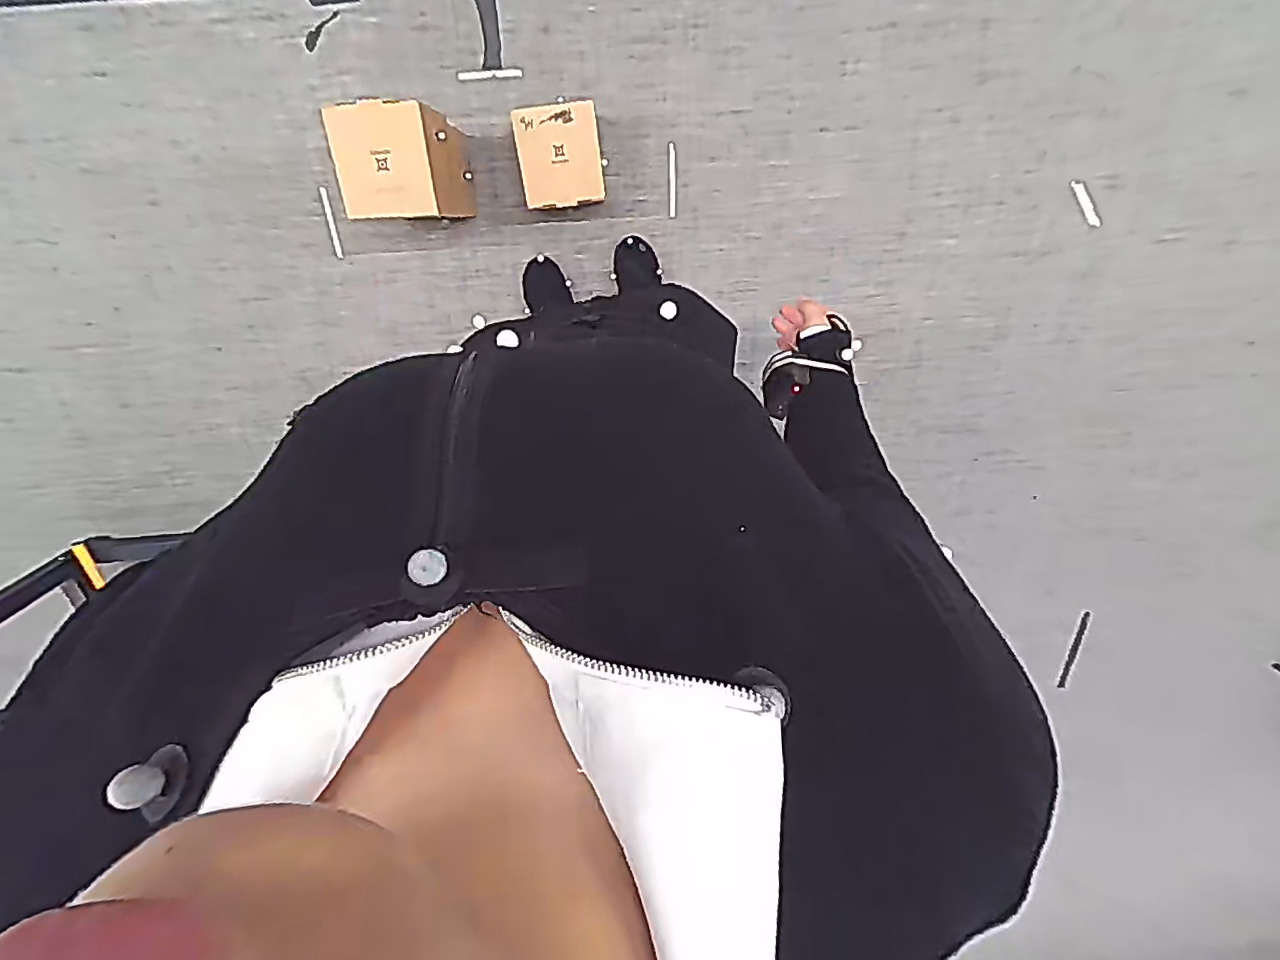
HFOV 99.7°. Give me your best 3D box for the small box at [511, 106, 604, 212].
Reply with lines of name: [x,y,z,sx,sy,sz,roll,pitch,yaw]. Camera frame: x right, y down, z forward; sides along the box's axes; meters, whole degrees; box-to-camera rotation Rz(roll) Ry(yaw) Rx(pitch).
small box: [-0.169,-0.686,1.168,0.168,0.176,0.179,-6,117,0]

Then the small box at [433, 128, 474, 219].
small box: [-0.465,-0.655,1.165,0.179,0.176,0.168,-2,116,-2]

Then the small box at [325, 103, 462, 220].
small box: [-0.450,-0.588,1.017,0.168,0.176,0.179,-3,117,0]
